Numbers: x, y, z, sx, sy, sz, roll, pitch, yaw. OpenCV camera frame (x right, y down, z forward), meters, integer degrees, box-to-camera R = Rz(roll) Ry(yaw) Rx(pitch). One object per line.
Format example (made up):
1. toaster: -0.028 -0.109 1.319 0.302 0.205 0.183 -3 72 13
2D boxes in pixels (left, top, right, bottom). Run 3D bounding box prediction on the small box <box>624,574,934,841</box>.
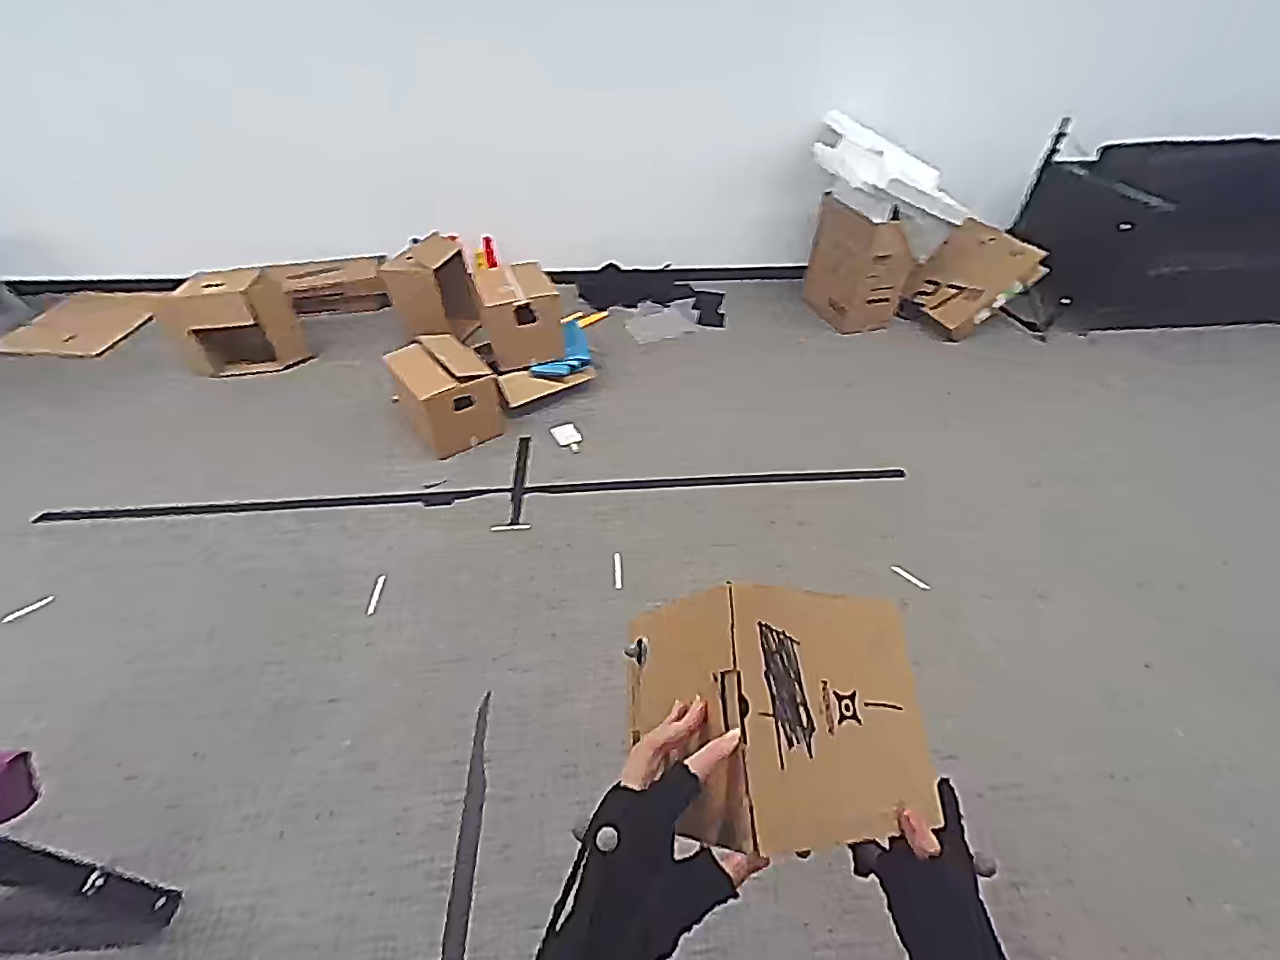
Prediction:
1. small box: 0.094 0.186 0.447 0.179 0.176 0.168 11 62 -26
